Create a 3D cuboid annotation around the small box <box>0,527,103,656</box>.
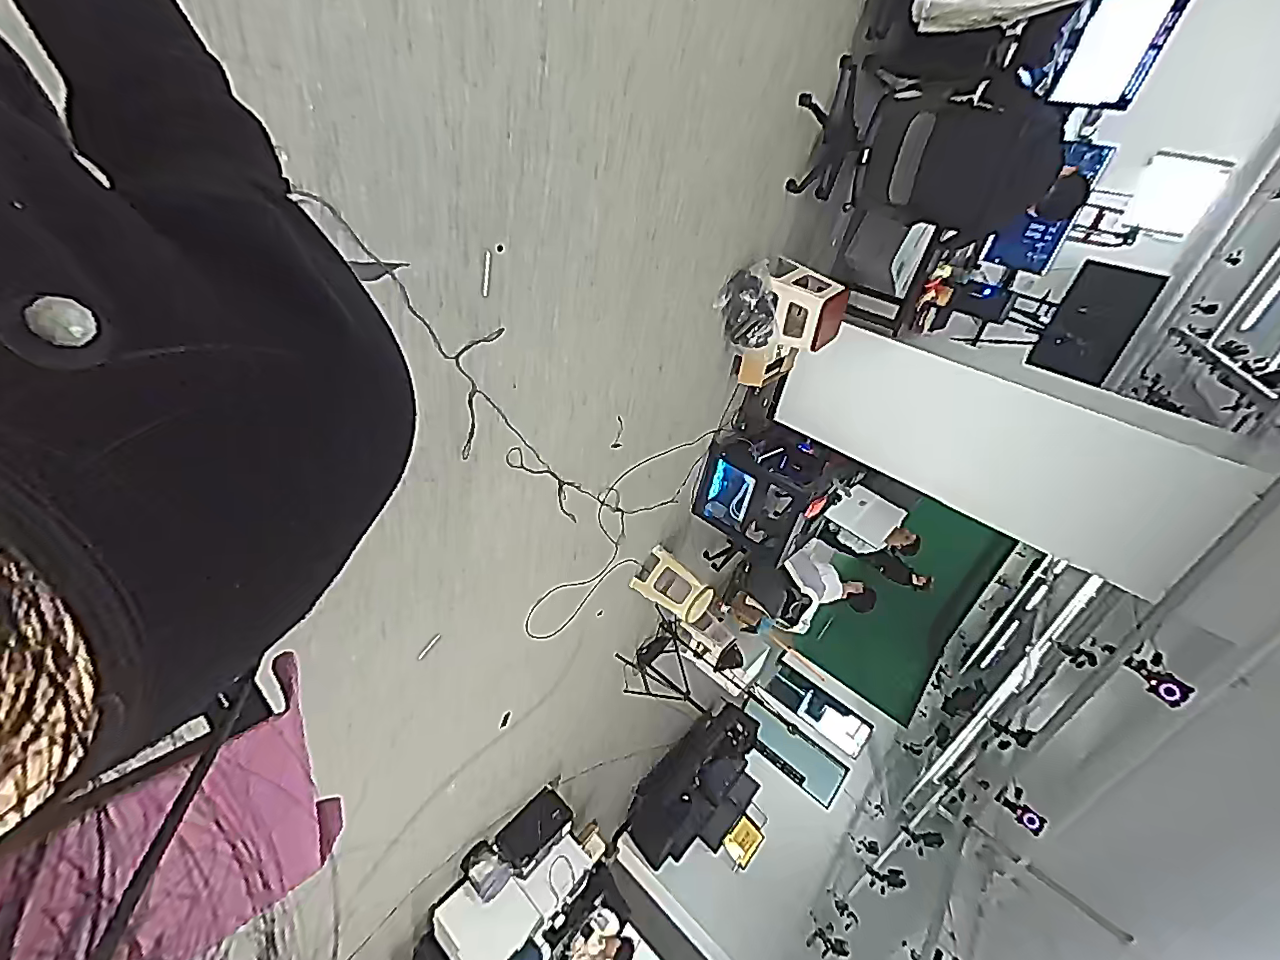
[{"bbox_3d":[-1.295,0.231,1.154,0.168,0.176,0.179,-21,135,-48],"label":"small box"}]
